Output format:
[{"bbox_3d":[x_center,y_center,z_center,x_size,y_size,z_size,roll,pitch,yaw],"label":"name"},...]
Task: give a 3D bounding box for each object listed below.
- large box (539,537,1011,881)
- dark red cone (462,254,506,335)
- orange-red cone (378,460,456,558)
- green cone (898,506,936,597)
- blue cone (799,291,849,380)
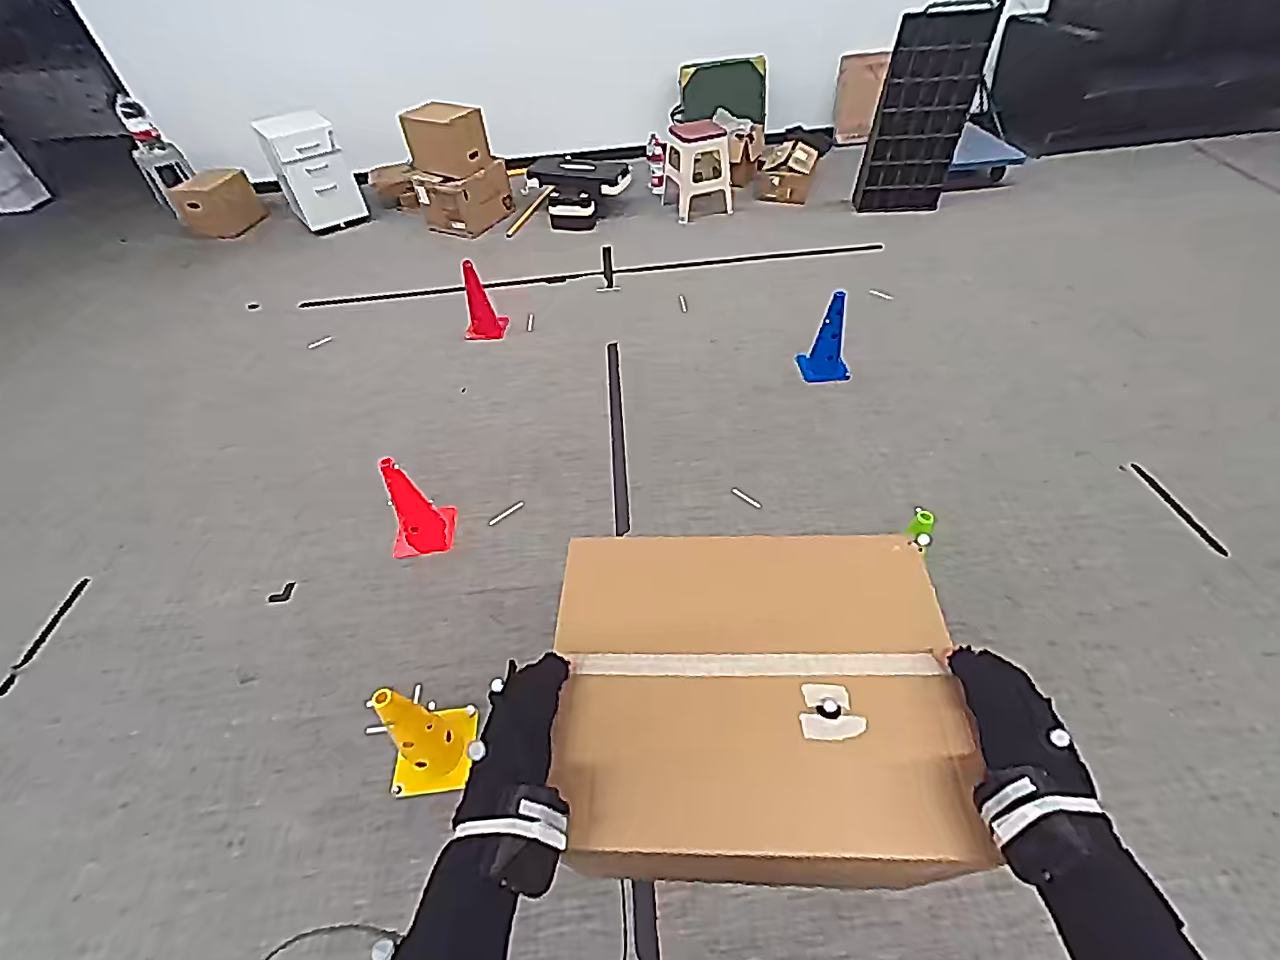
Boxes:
[{"bbox_3d":[0.118,0.285,0.660,0.408,0.320,0.320,-1,50,4],"label":"large box"},{"bbox_3d":[-0.801,-0.903,2.637,0.201,0.394,0.202,-1,48,3],"label":"dark red cone"},{"bbox_3d":[-0.764,0.070,1.775,0.198,0.360,0.199,-8,49,-1],"label":"orange-red cone"},{"bbox_3d":[0.745,0.207,1.514,0.202,0.368,0.200,-35,55,-26],"label":"green cone"},{"bbox_3d":[0.807,-0.617,2.287,0.192,0.380,0.193,-3,48,1],"label":"blue cone"}]
